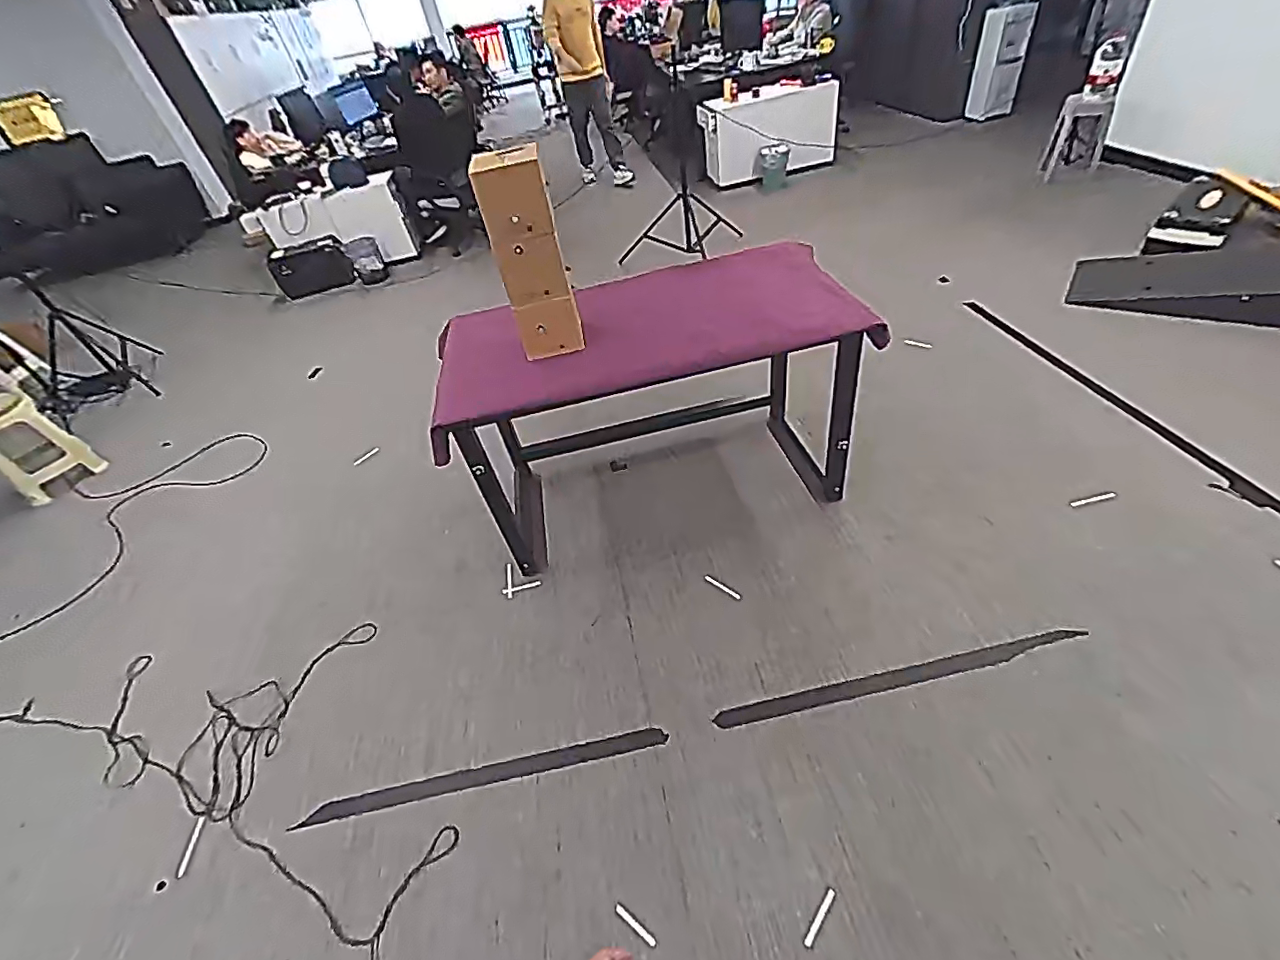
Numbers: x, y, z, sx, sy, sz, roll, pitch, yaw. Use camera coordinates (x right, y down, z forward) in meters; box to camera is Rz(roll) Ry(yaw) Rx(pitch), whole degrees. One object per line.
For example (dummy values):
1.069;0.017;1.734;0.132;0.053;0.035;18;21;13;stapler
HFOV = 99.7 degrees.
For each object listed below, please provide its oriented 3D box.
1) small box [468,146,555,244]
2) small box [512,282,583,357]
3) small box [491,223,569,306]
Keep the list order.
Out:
-0.315;-0.713;1.355;0.168;0.176;0.179;-13;43;-1;small box
-0.267;-0.473;1.575;0.168;0.176;0.179;-13;42;-1;small box
-0.294;-0.595;1.468;0.168;0.176;0.179;-13;42;-1;small box
